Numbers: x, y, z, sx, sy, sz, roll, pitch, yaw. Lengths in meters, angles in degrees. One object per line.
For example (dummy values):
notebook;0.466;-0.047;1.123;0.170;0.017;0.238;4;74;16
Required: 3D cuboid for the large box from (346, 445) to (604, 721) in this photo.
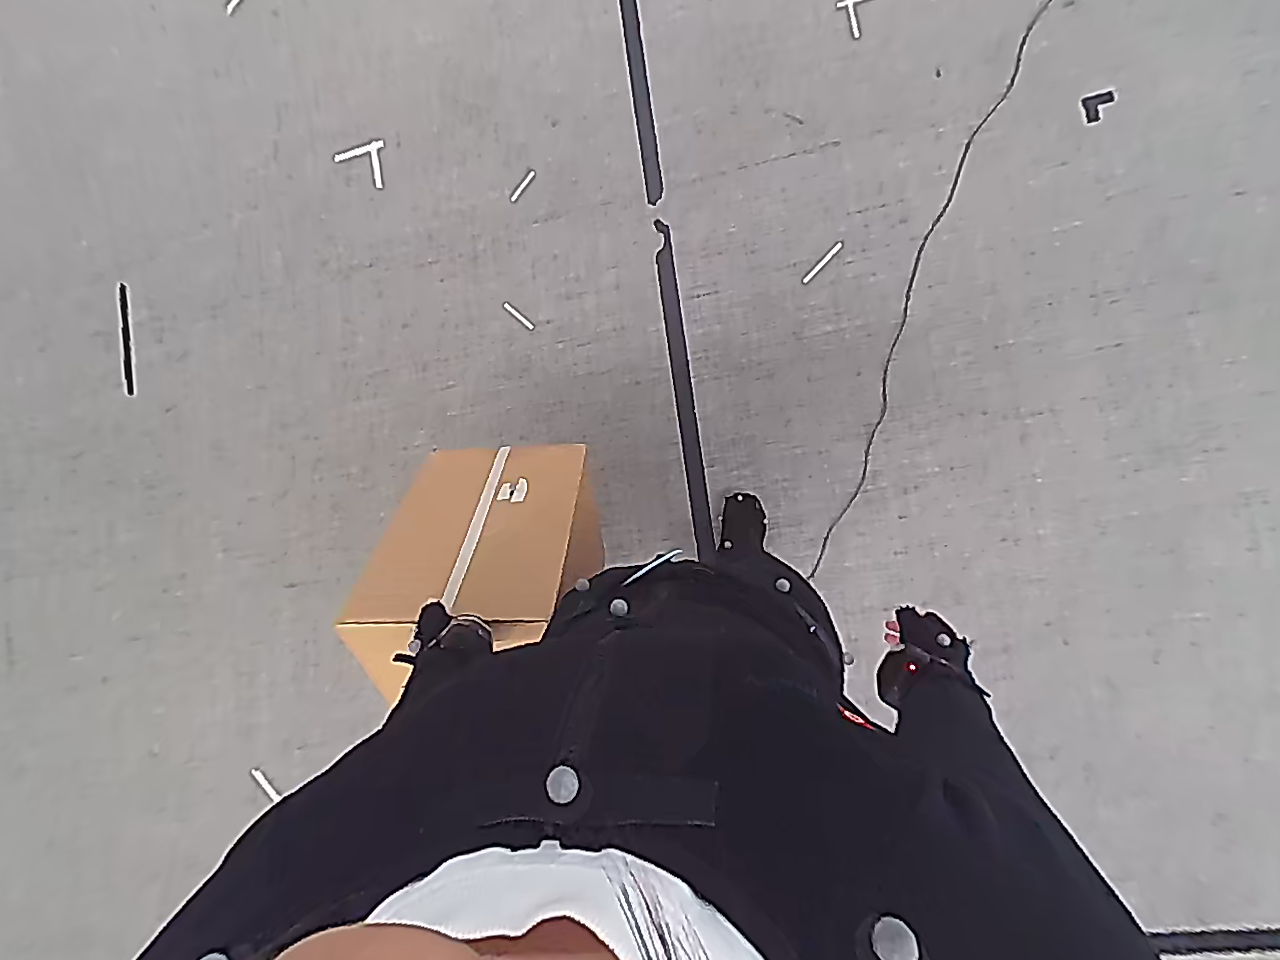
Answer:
large box;-0.252;0.181;1.001;0.320;0.408;0.320;-1;129;5
